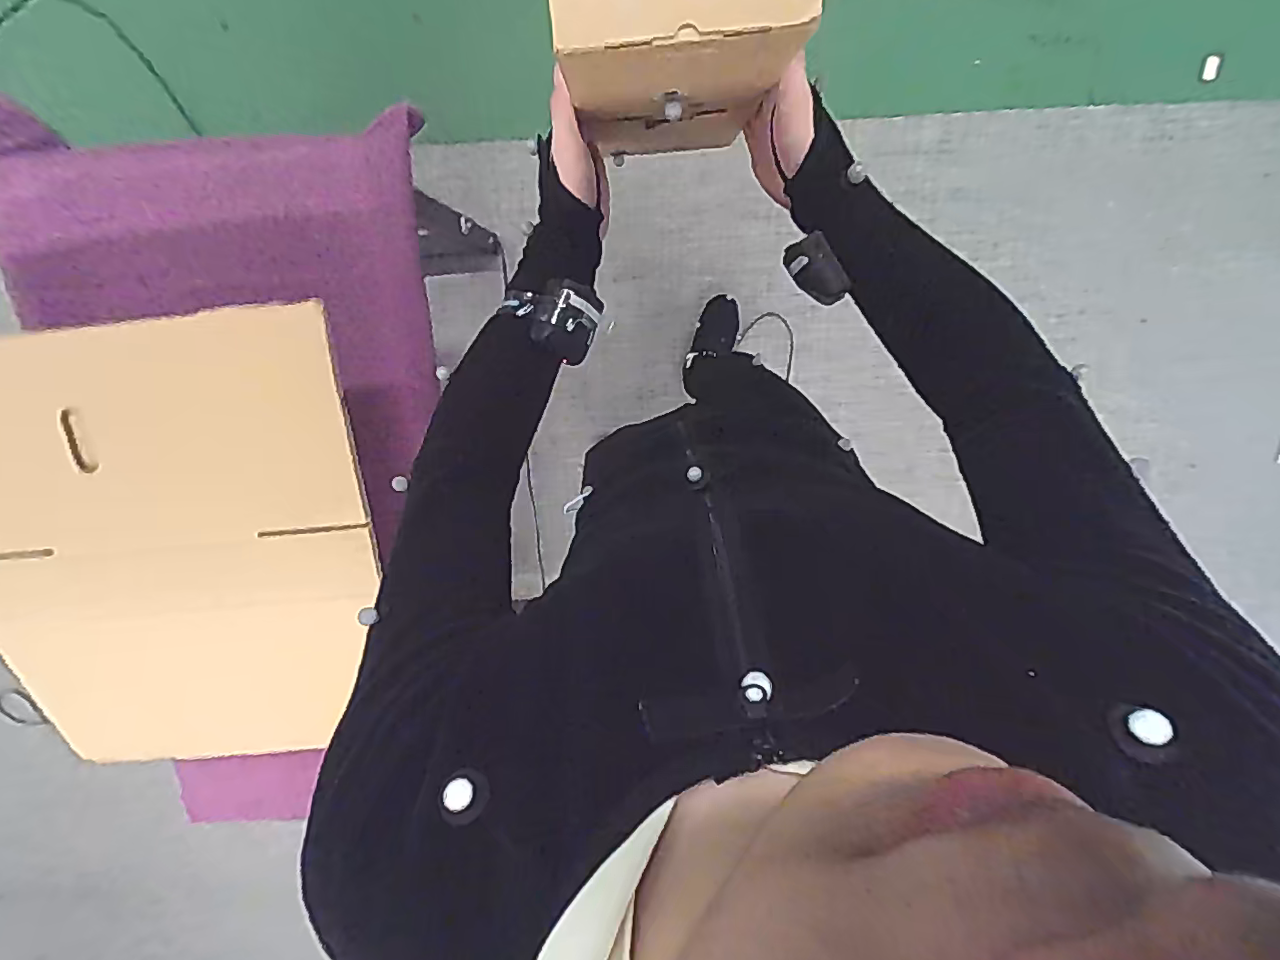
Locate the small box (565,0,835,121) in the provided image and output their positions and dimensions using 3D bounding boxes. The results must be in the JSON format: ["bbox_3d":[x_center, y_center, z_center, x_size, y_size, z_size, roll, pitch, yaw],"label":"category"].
[{"bbox_3d":[0.030,-0.378,0.376,0.168,0.176,0.179,-4,111,1],"label":"small box"}]

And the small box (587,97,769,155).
[{"bbox_3d":[0.030,-0.433,0.531,0.168,0.176,0.179,-4,110,1],"label":"small box"}]
